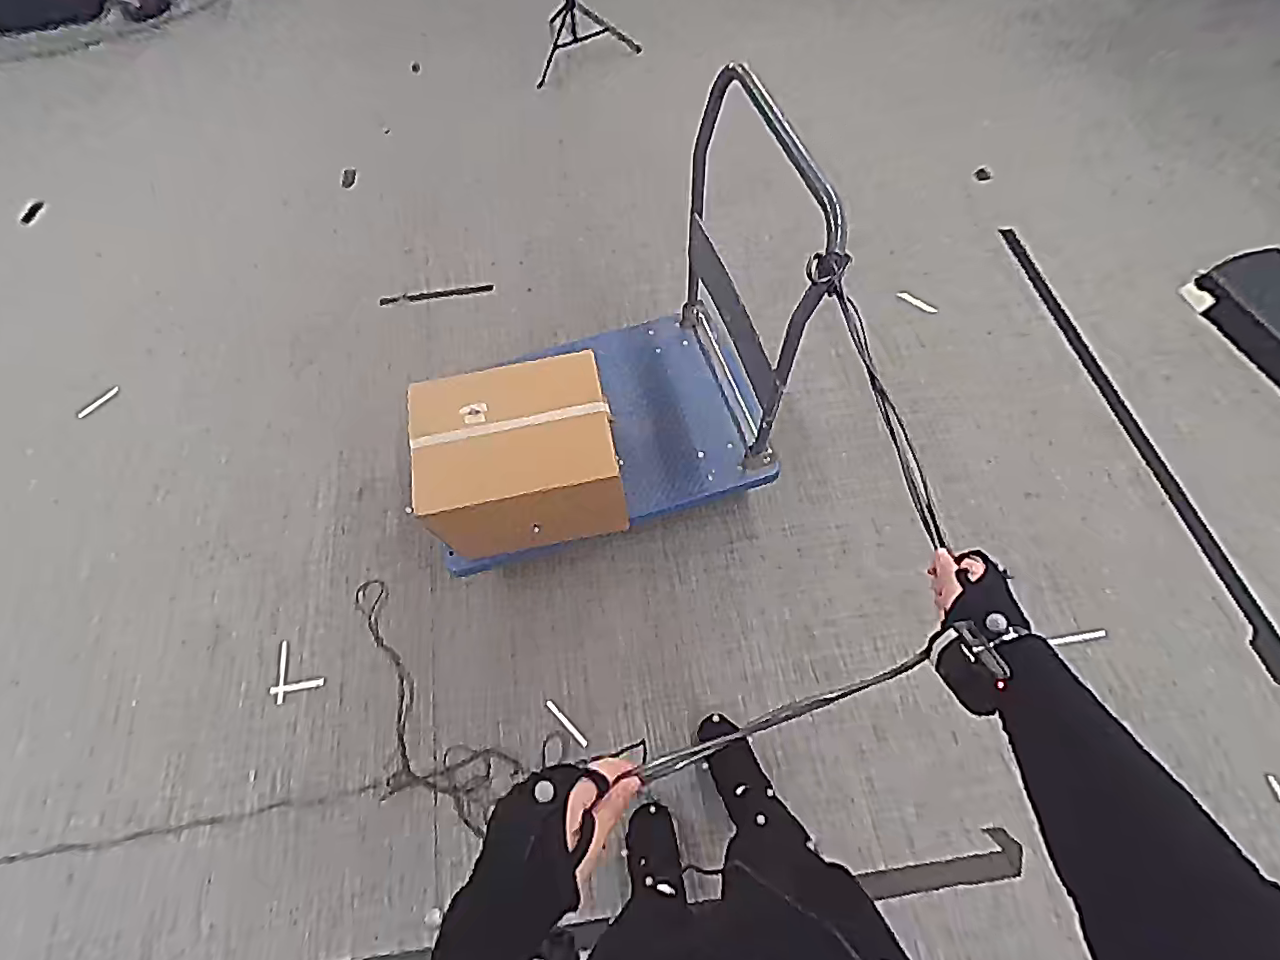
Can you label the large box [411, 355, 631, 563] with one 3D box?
[{"bbox_3d":[-0.254,-0.033,1.231,0.408,0.320,0.320,-12,64,-2],"label":"large box"}]
